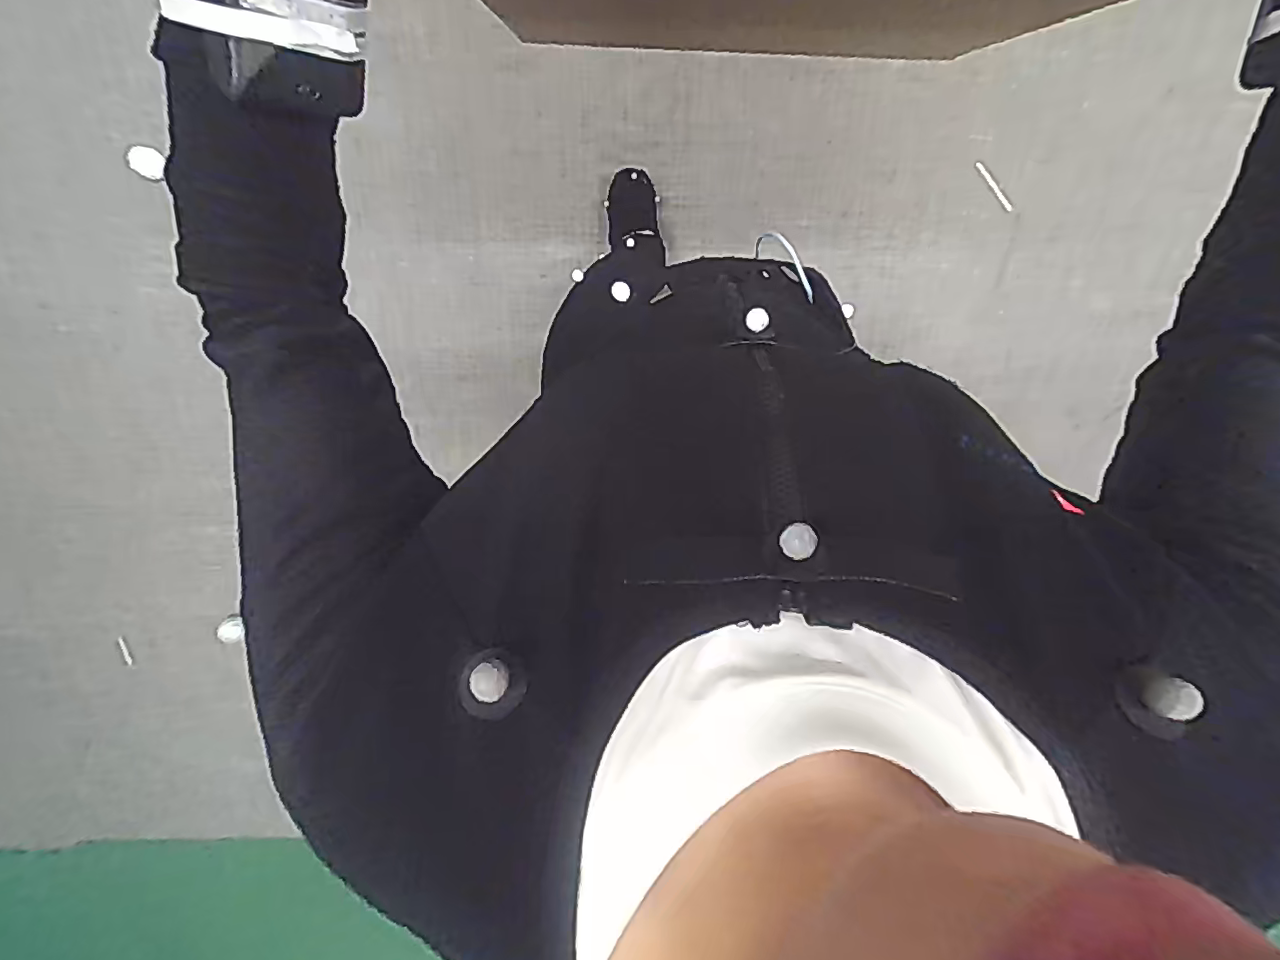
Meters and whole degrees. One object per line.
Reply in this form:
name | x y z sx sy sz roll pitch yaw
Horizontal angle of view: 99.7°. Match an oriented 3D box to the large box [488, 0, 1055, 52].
large box | 0.089 -0.460 0.299 0.408 0.320 0.320 1 121 0
